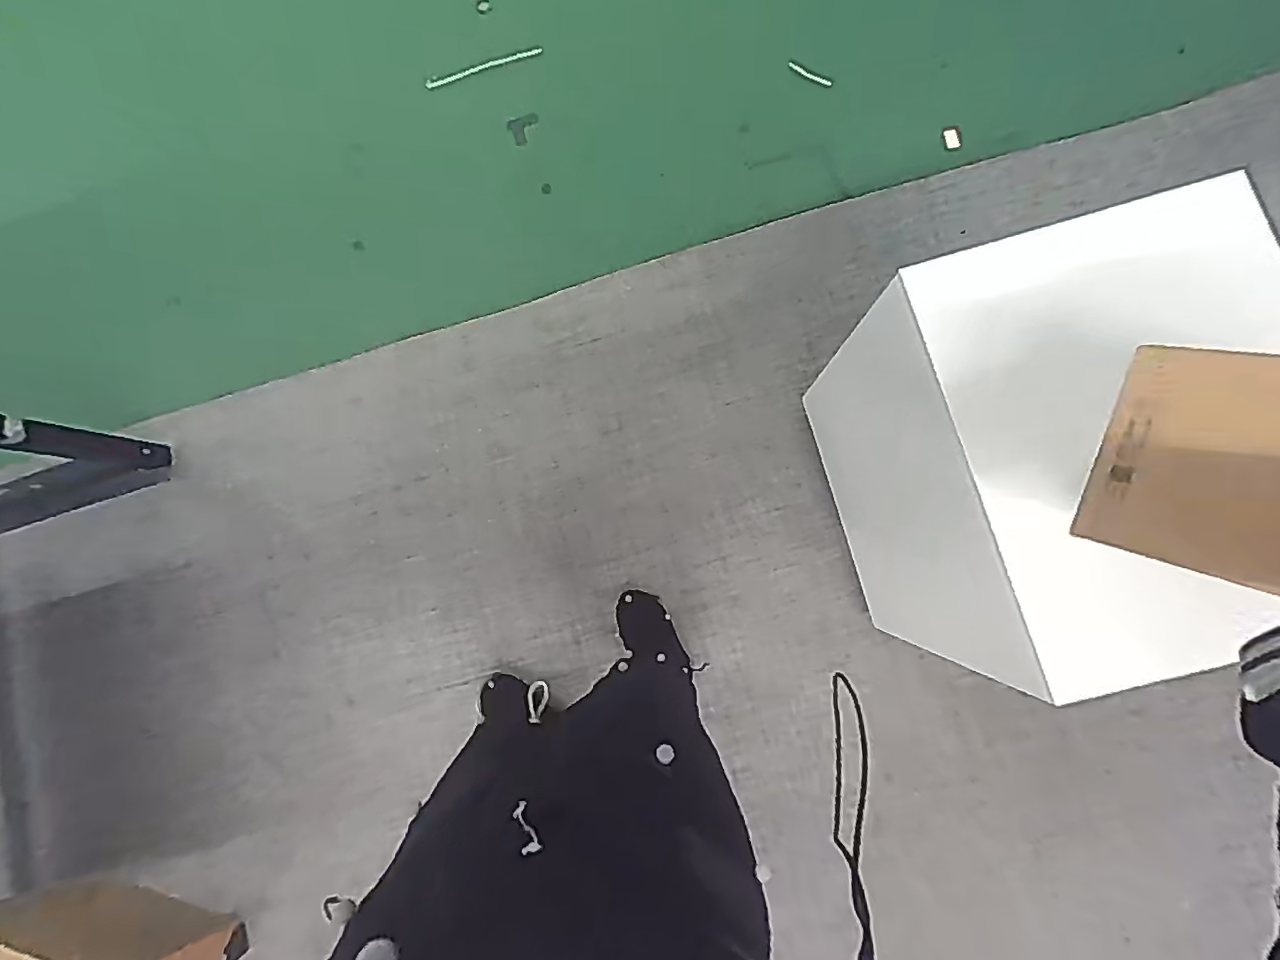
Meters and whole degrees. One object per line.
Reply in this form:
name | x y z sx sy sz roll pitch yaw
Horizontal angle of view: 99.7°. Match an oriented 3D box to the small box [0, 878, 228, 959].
small box | -0.530 0.488 0.482 0.168 0.179 0.176 16 65 3
